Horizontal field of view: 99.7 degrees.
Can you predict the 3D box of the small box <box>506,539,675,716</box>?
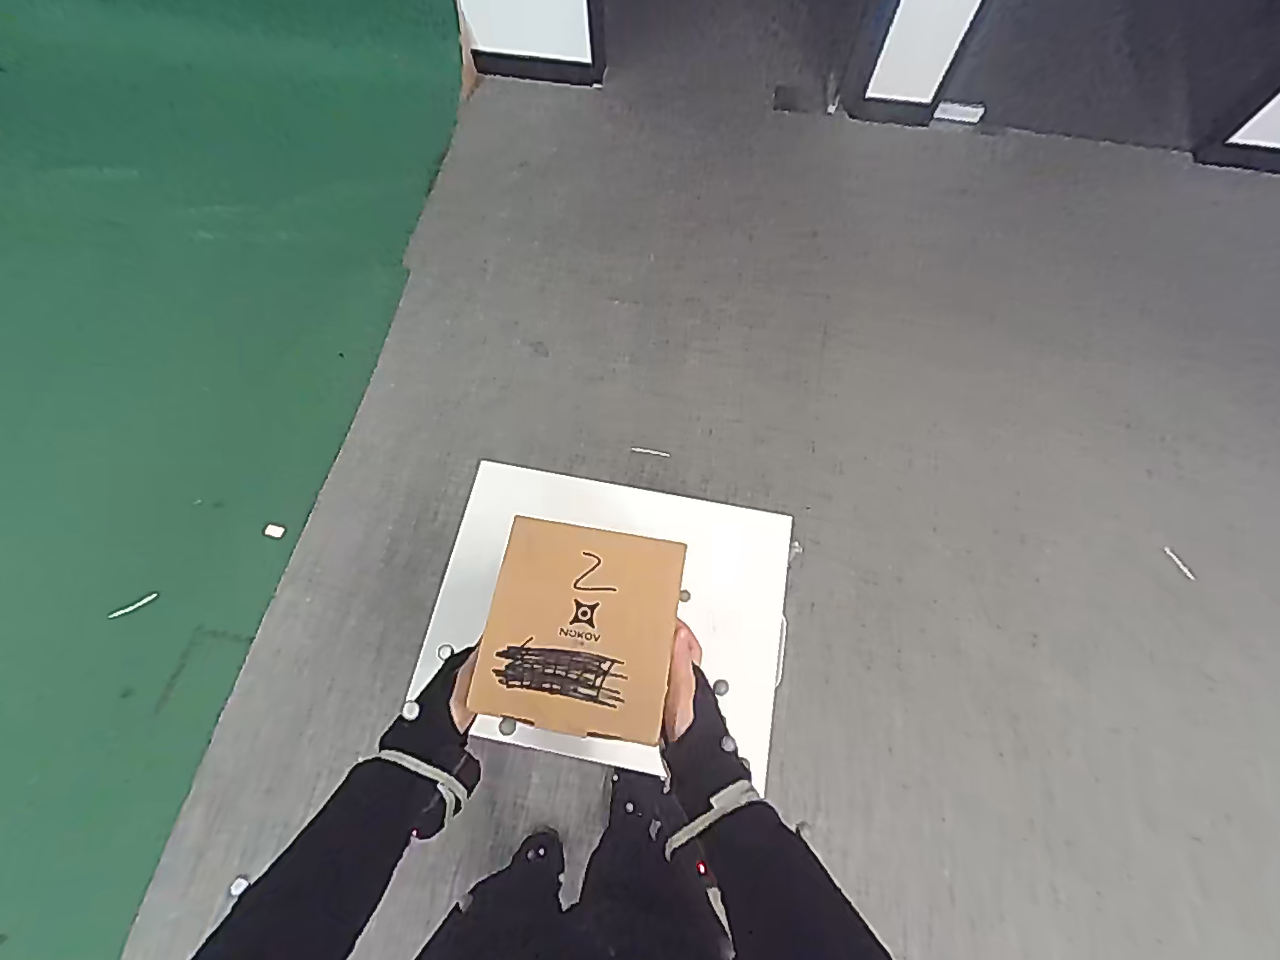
[{"bbox_3d":[-0.054,0.194,0.699,0.168,0.176,0.179,10,69,4],"label":"small box"}]
